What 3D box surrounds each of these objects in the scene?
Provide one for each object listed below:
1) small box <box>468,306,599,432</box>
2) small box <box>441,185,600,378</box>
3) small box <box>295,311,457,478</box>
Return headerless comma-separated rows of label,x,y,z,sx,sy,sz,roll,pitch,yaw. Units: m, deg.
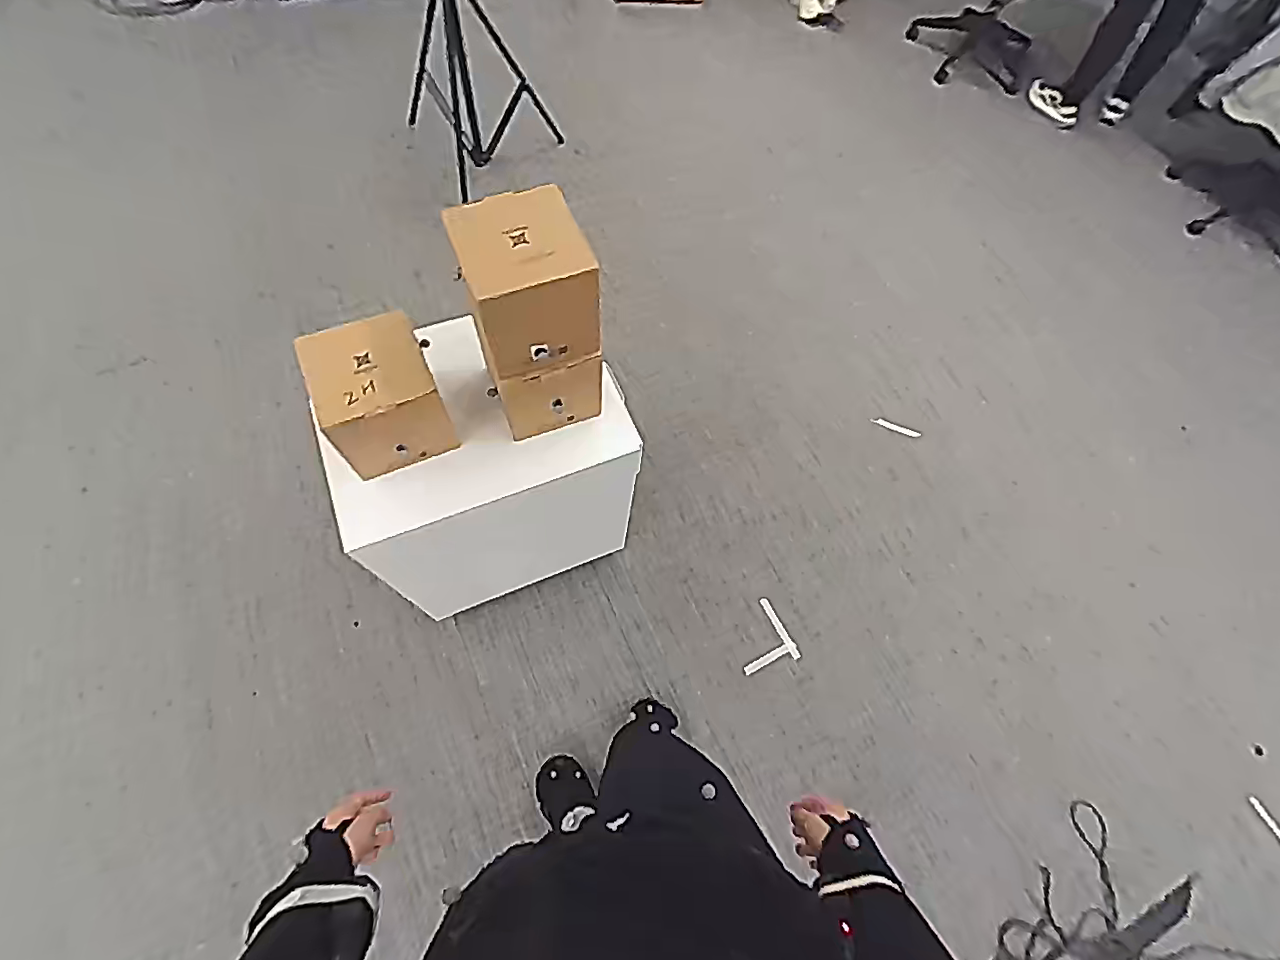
small box,-0.174,-0.200,0.922,0.168,0.176,0.179,-20,69,-14
small box,-0.165,-0.280,0.780,0.168,0.176,0.179,-21,68,-12
small box,-0.413,-0.133,0.868,0.168,0.176,0.179,-23,69,-15
